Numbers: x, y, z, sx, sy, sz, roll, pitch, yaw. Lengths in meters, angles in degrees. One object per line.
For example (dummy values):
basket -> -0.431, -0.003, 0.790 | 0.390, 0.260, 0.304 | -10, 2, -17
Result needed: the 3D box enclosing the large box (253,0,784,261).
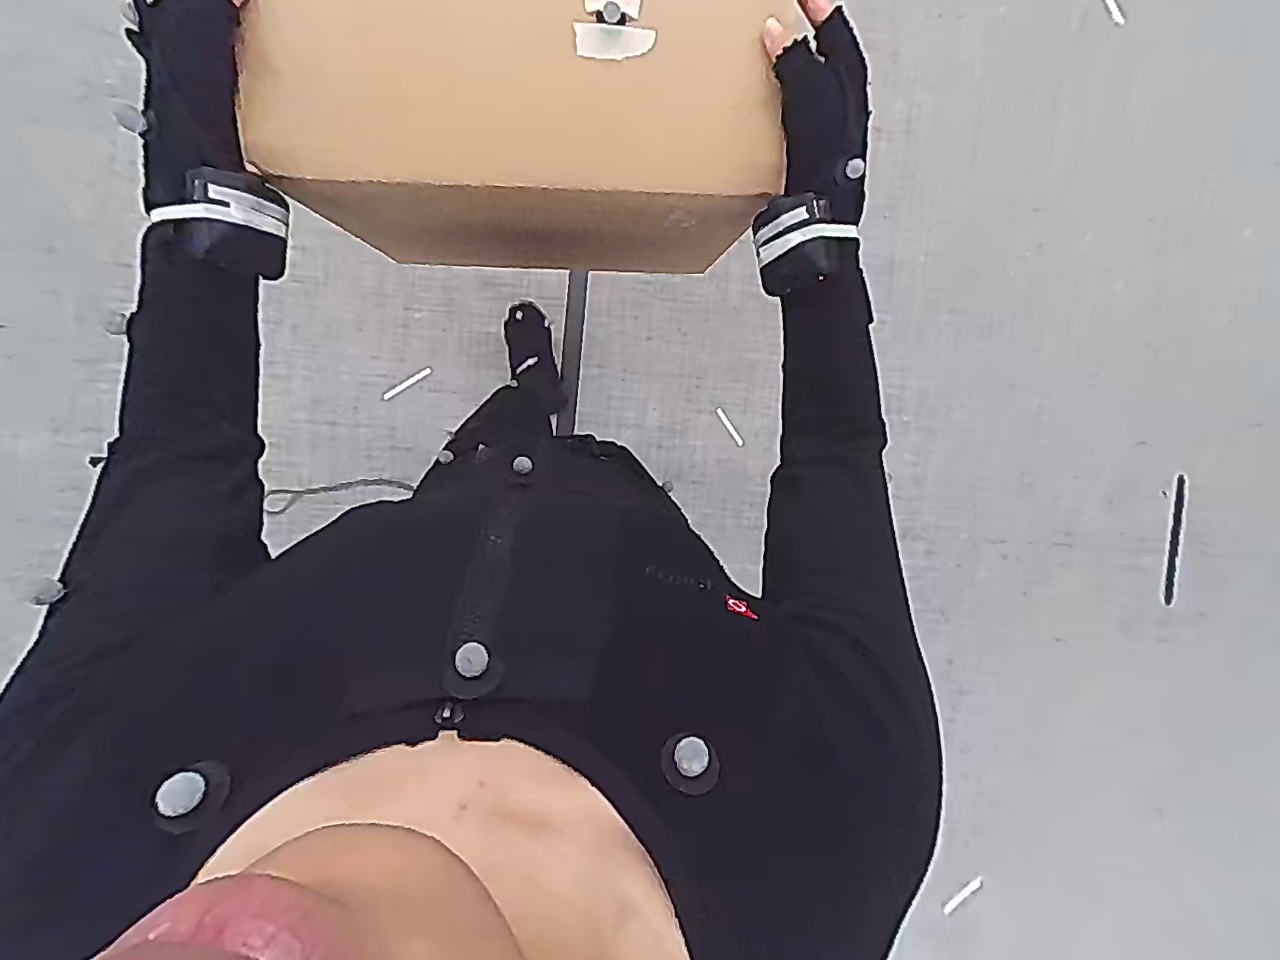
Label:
large box -> -0.099, -0.417, 0.549 | 0.408, 0.320, 0.320 | -1, 101, -5
